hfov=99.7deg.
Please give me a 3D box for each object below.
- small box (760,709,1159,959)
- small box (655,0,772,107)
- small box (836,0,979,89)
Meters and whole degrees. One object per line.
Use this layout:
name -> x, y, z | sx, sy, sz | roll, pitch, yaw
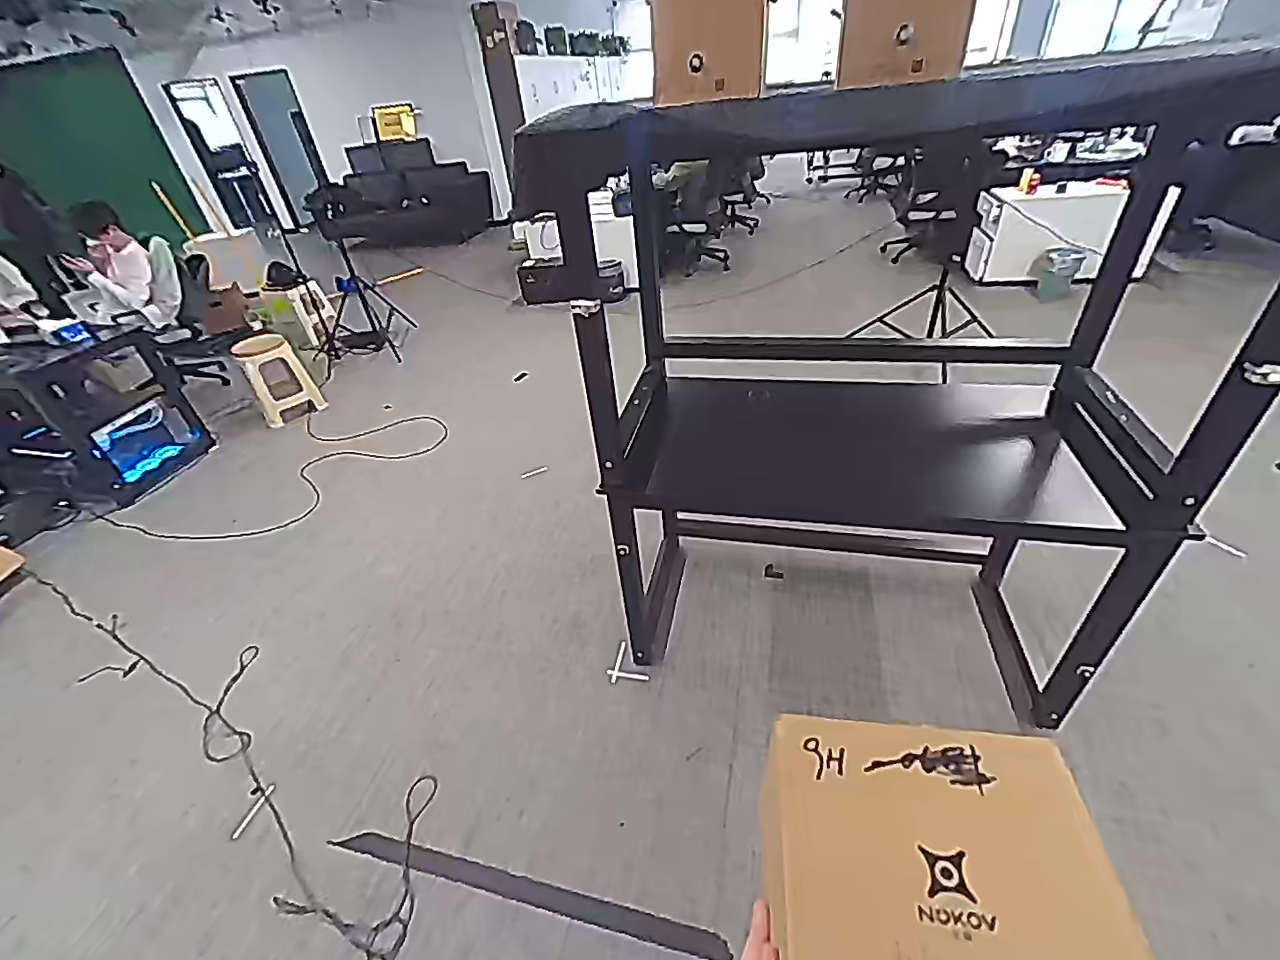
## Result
small box -> 0.162, 0.266, 0.320 | 0.168, 0.176, 0.179 | 3, 41, 9
small box -> 0.118, -0.694, 0.853 | 0.168, 0.176, 0.179 | 4, 36, 13
small box -> 0.382, -0.677, 0.785 | 0.168, 0.176, 0.179 | 4, 36, 15
